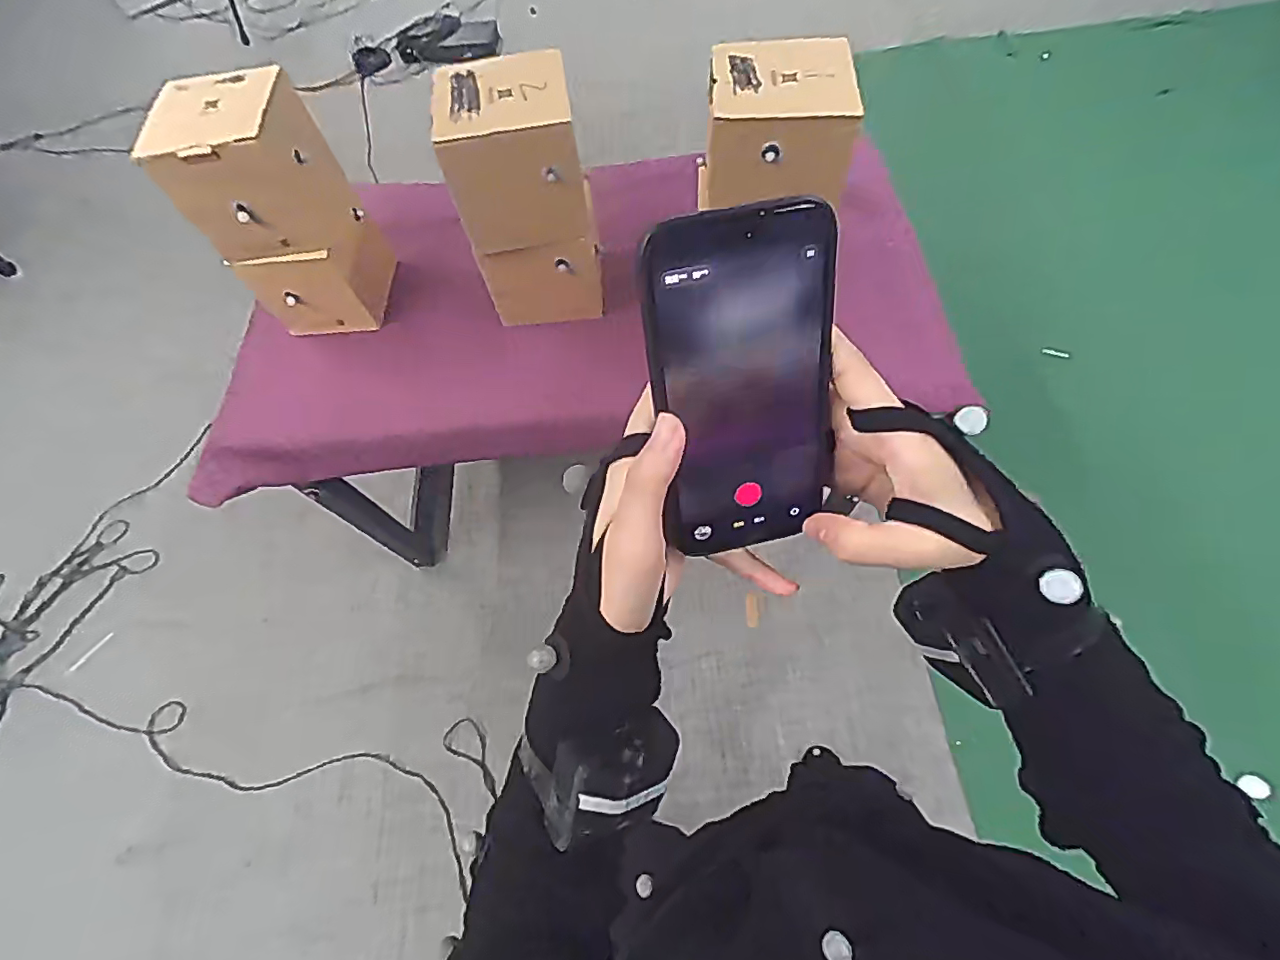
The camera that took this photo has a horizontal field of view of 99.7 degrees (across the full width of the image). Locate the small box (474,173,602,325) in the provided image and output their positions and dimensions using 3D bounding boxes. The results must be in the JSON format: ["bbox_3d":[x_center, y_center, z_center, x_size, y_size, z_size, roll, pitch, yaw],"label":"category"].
[{"bbox_3d":[-0.159,-0.381,0.909,0.179,0.176,0.168,-3,63,3],"label":"small box"}]

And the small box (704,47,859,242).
[{"bbox_3d":[0.178,-0.445,0.733,0.179,0.176,0.168,2,64,5],"label":"small box"}]

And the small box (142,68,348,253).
[{"bbox_3d":[-0.561,-0.457,0.798,0.168,0.176,0.179,-7,64,0],"label":"small box"}]

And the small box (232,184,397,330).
[{"bbox_3d":[-0.549,-0.377,0.941,0.168,0.176,0.179,-3,64,3],"label":"small box"}]

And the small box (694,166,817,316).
[{"bbox_3d":[0.181,-0.386,0.886,0.179,0.176,0.168,2,64,7],"label":"small box"}]
